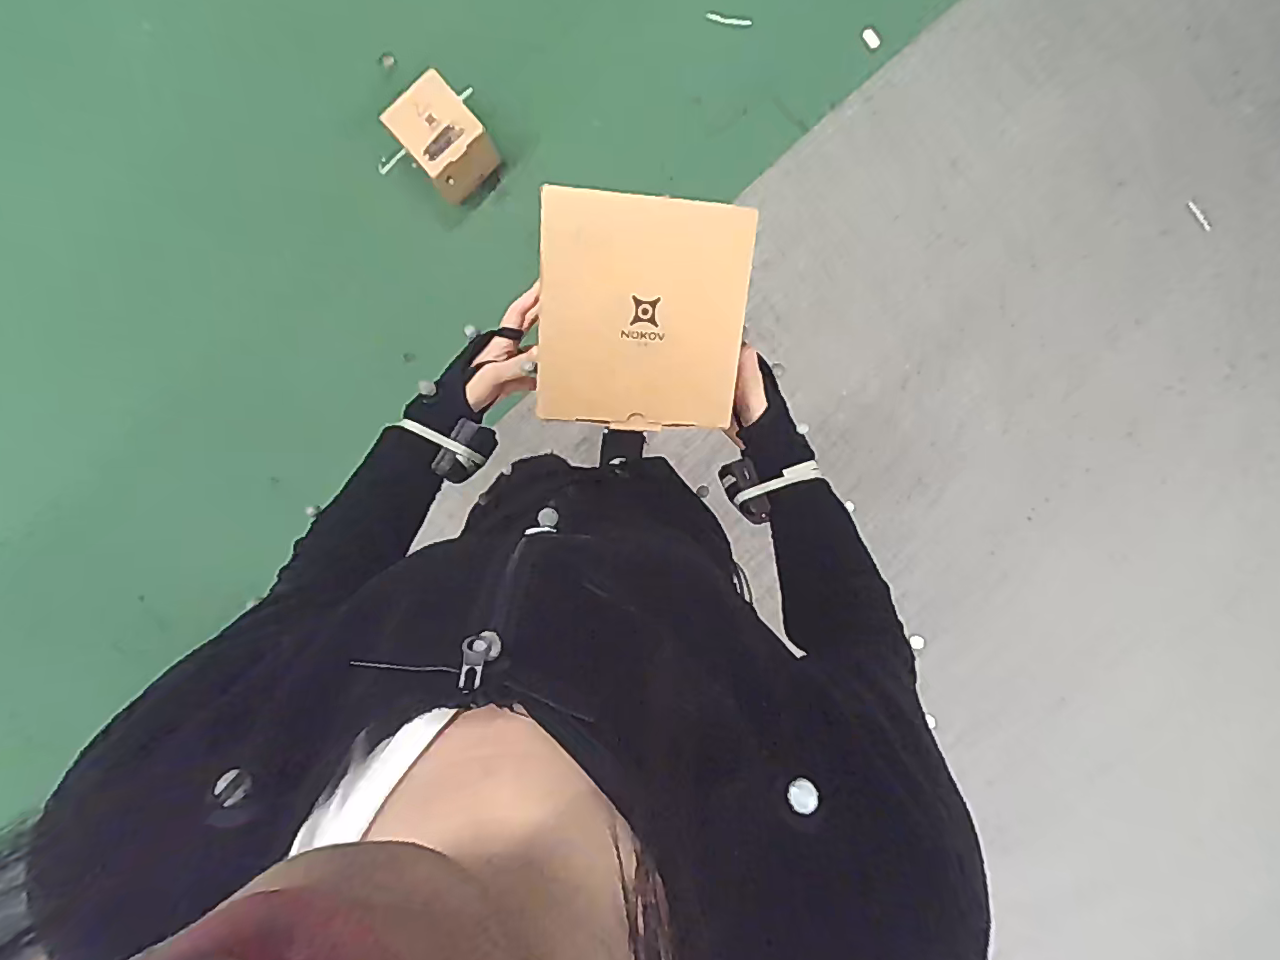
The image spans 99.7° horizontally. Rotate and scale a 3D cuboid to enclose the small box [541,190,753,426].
[{"bbox_3d":[-0.007,-0.156,0.510,0.168,0.176,0.179,1,110,-7],"label":"small box"}]
